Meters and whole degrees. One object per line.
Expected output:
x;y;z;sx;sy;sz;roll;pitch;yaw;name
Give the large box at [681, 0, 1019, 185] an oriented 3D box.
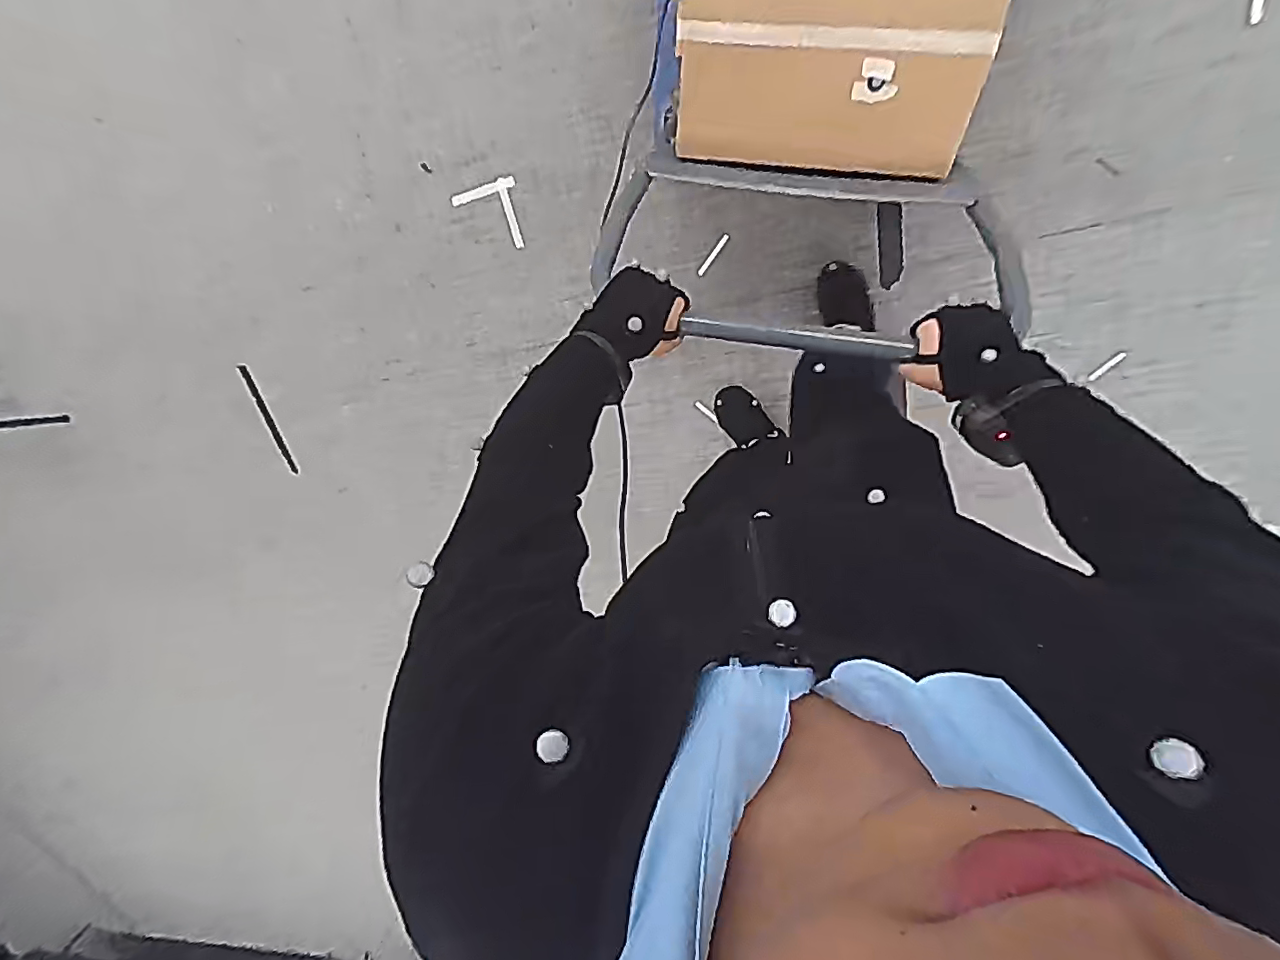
0.285;-0.664;0.815;0.408;0.320;0.320;9;133;7;large box
